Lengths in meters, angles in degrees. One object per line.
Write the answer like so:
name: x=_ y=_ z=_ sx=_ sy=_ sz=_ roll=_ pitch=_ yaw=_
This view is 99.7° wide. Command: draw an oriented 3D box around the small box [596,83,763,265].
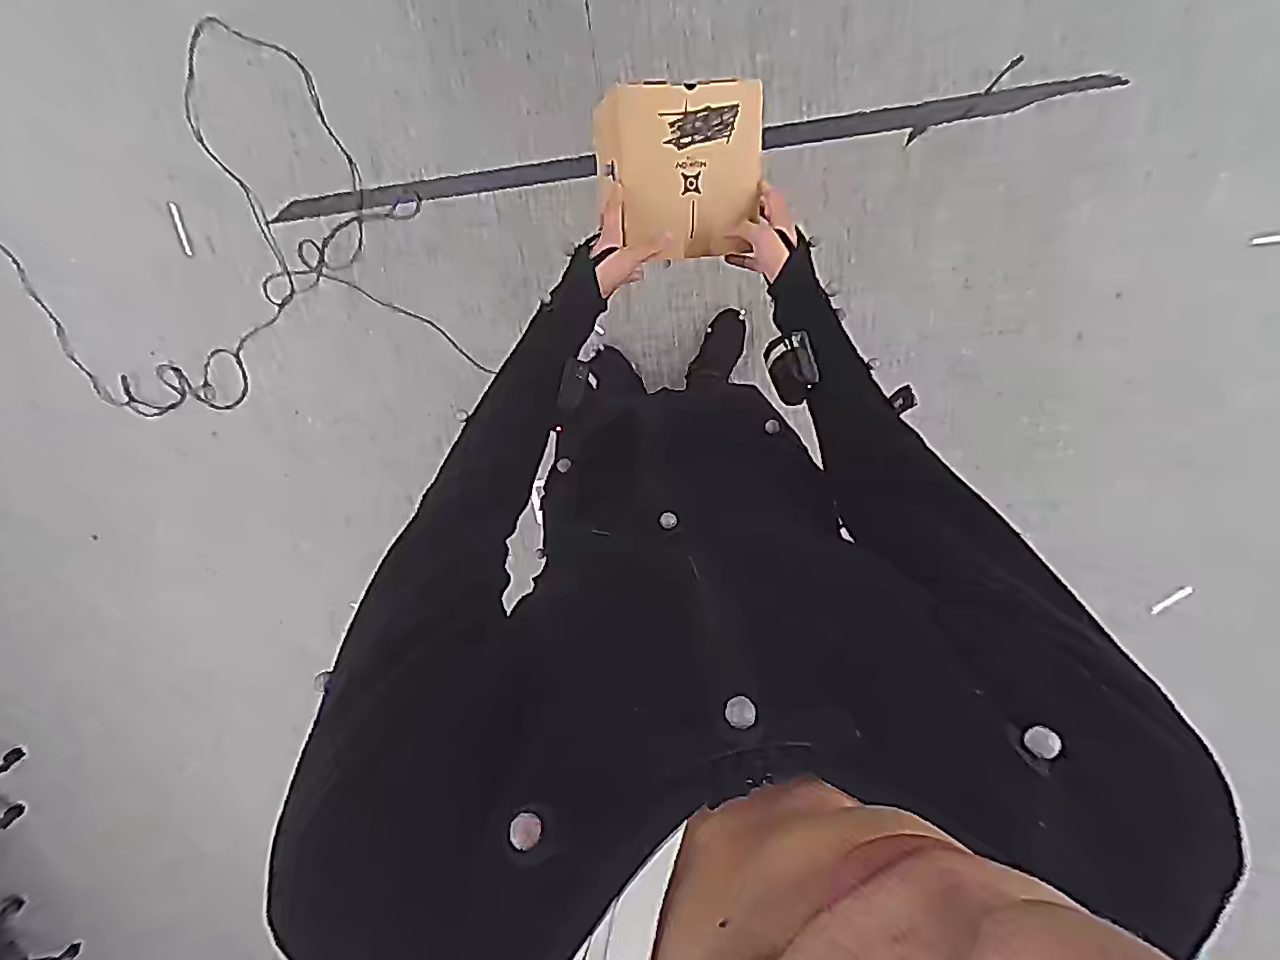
small box: x=0.041 y=-0.371 z=0.678 sx=0.168 sy=0.176 sz=0.179 roll=-8 pitch=116 yaw=-9
